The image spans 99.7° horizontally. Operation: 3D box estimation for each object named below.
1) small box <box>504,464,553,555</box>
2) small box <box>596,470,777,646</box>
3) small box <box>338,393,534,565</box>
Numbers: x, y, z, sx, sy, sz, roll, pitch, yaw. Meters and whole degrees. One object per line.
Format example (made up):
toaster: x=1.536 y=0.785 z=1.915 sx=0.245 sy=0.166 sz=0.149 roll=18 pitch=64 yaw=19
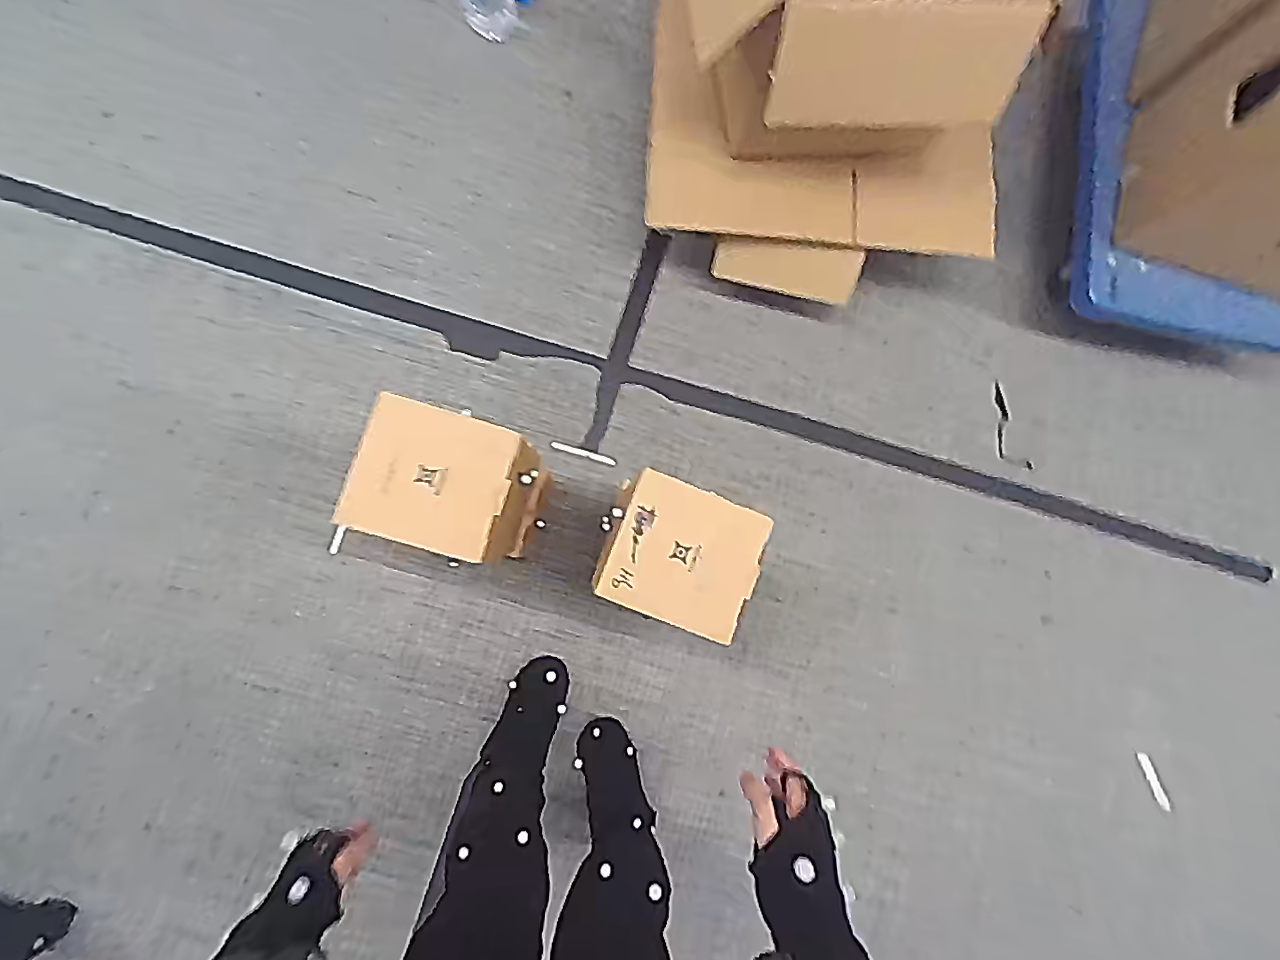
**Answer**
small box: x=-0.276 y=0.040 z=1.034 sx=0.179 sy=0.176 sz=0.168 roll=19 pitch=82 yaw=-4
small box: x=0.052 y=0.099 z=0.727 sx=0.179 sy=0.176 sz=0.168 roll=23 pitch=83 yaw=-4
small box: x=-0.247 y=0.007 z=0.710 sx=0.179 sy=0.176 sz=0.168 roll=16 pitch=81 yaw=-3
